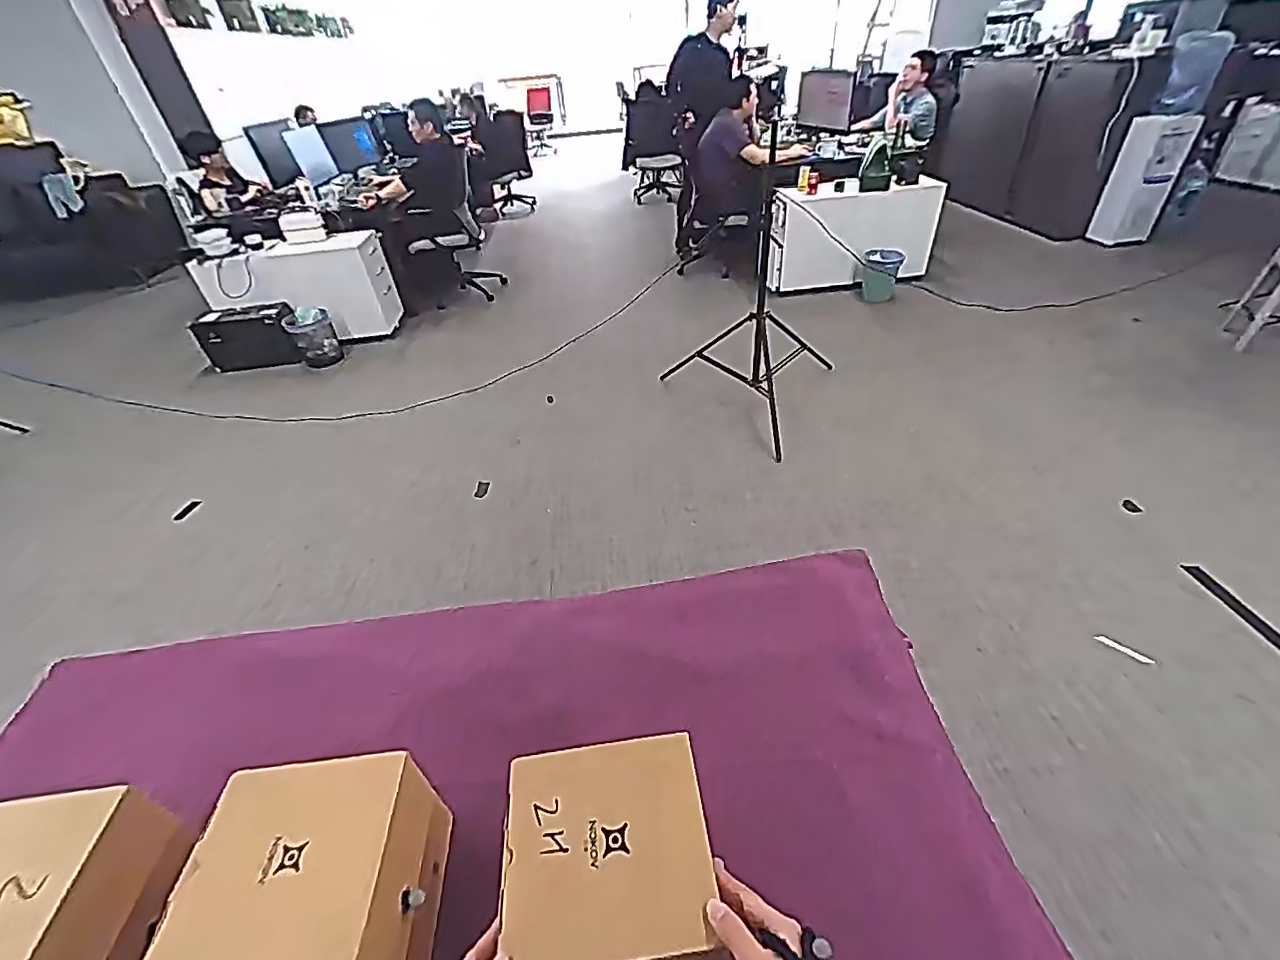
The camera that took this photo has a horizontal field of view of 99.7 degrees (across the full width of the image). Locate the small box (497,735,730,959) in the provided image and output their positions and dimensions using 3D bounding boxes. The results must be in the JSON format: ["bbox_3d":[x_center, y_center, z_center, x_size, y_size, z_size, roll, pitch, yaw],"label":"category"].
[{"bbox_3d":[-0.022,0.369,0.505,0.179,0.176,0.168,-8,37,-2],"label":"small box"}]

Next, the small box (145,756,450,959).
[{"bbox_3d":[-0.299,0.392,0.517,0.179,0.176,0.168,-7,38,-1],"label":"small box"}]
